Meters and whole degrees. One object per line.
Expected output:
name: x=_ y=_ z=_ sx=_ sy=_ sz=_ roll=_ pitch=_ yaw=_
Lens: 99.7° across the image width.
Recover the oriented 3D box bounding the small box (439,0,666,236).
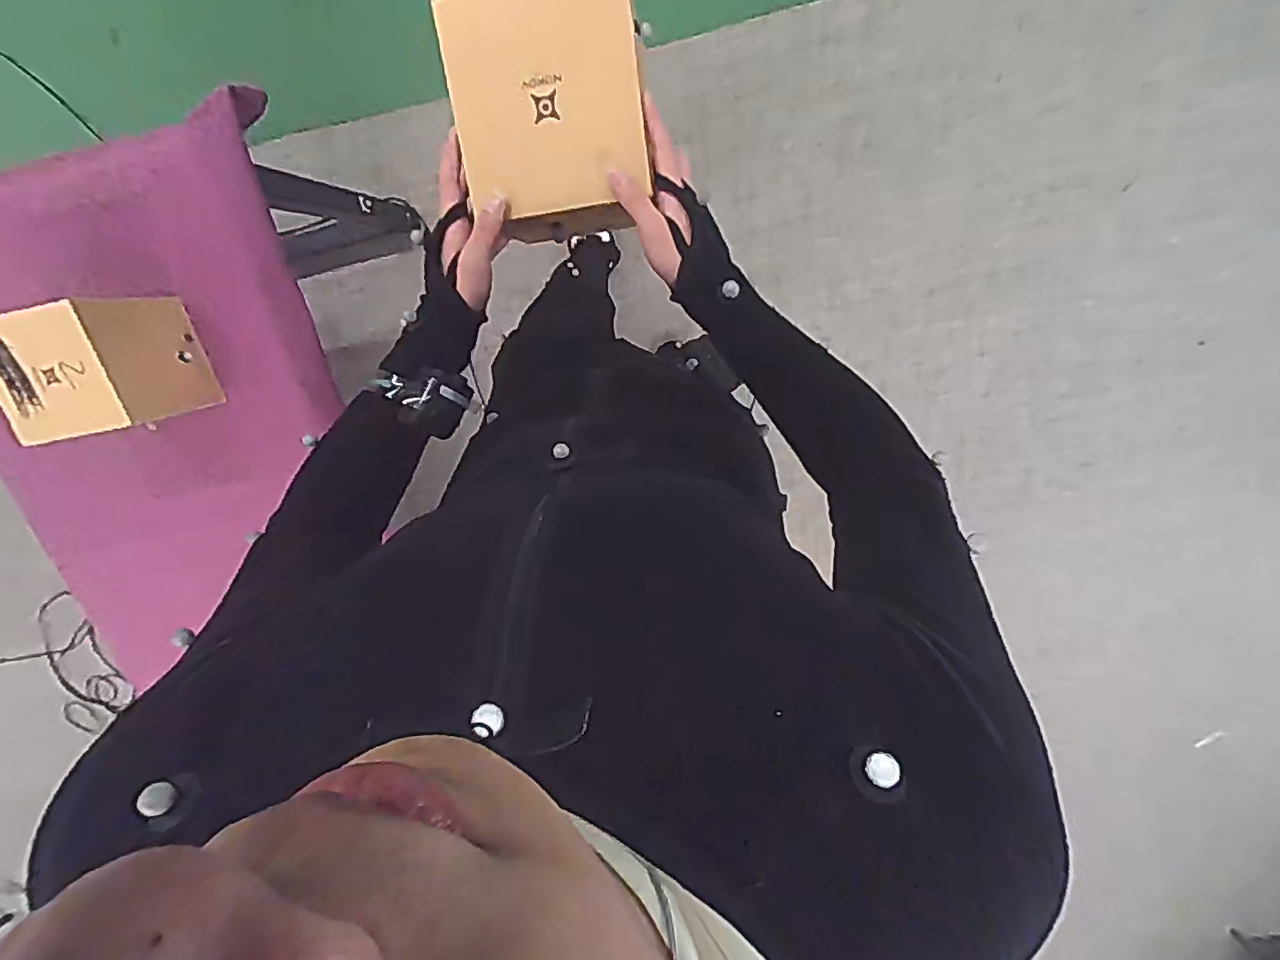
small box: x=-0.067 y=-0.347 z=0.532 sx=0.168 sy=0.176 sz=0.179 roll=-7 pitch=107 yaw=6
